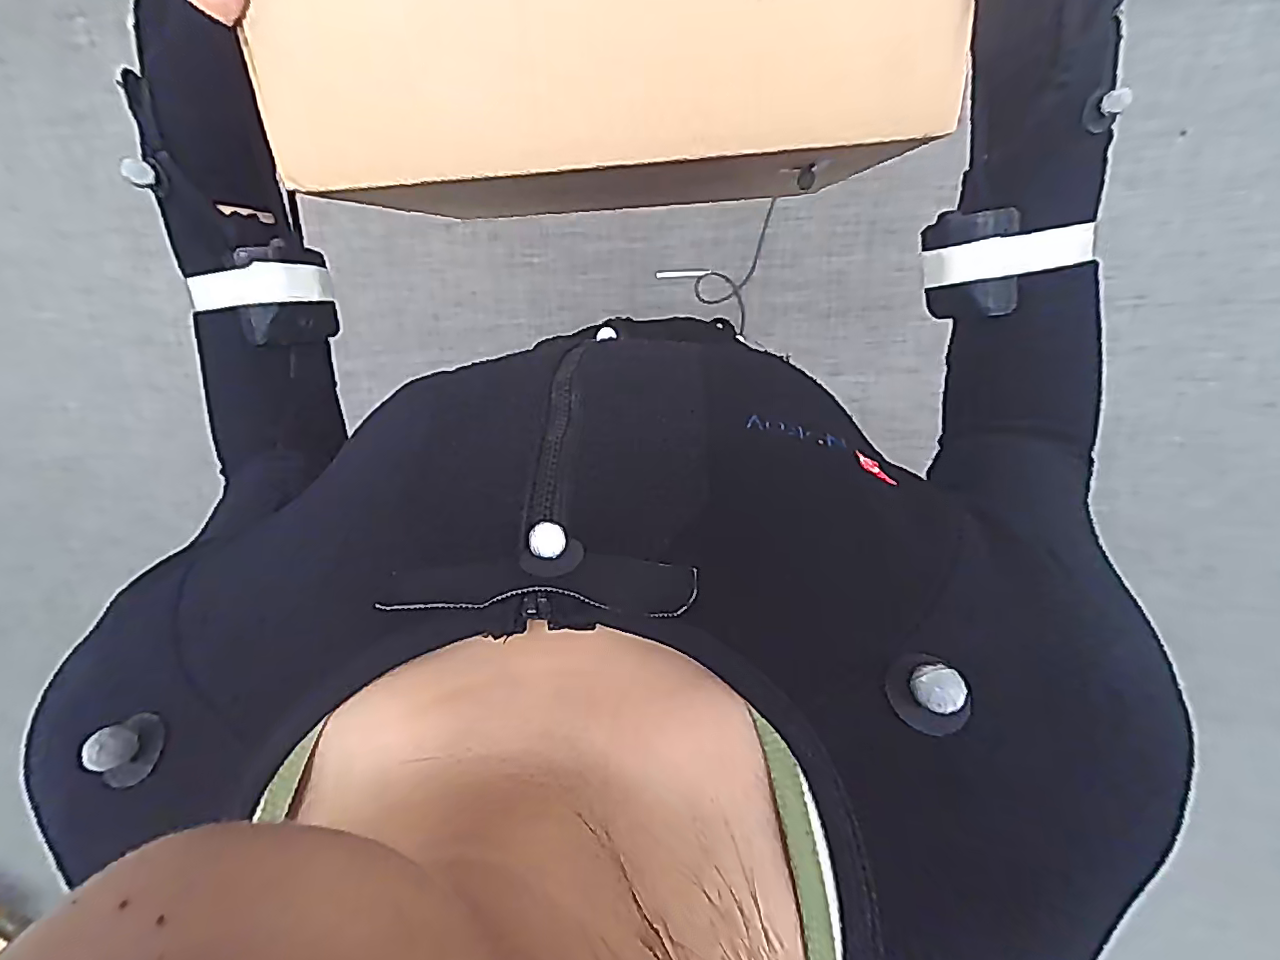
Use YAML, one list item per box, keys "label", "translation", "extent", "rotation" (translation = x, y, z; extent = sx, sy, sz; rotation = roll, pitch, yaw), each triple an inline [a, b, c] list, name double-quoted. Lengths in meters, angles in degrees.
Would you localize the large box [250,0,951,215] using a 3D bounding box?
- label: "large box"
  translation: [-0.023, -0.396, 0.416]
  extent: [0.408, 0.320, 0.320]
  rotation: [-3, 112, 4]
